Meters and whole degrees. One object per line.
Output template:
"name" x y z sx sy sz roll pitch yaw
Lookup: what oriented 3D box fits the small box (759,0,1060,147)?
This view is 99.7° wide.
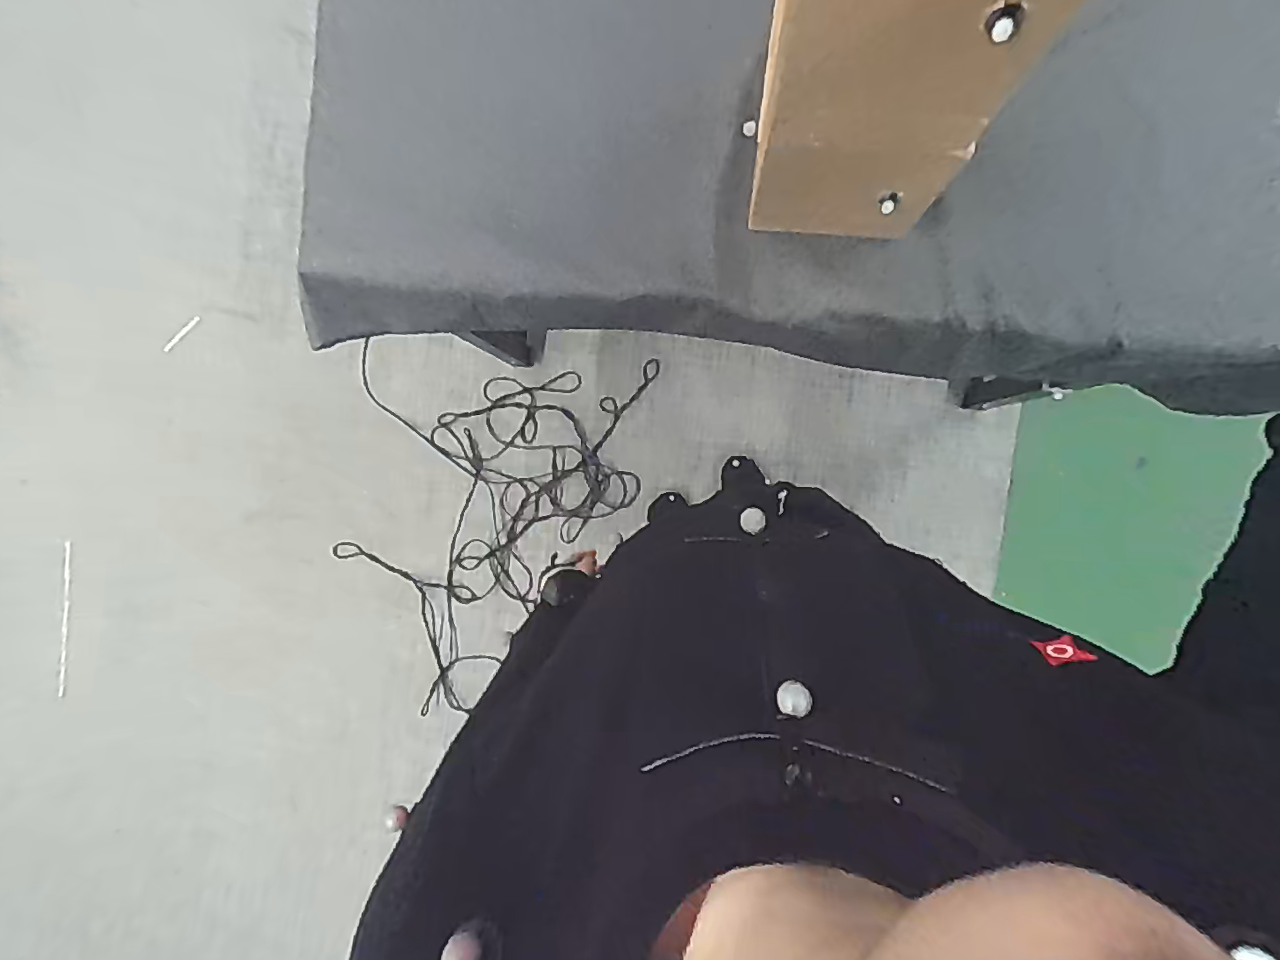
"small box" 0.186 -0.366 0.379 0.179 0.176 0.168 8 90 6

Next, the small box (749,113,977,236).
"small box" 0.211 -0.362 0.540 0.179 0.176 0.168 6 90 7
